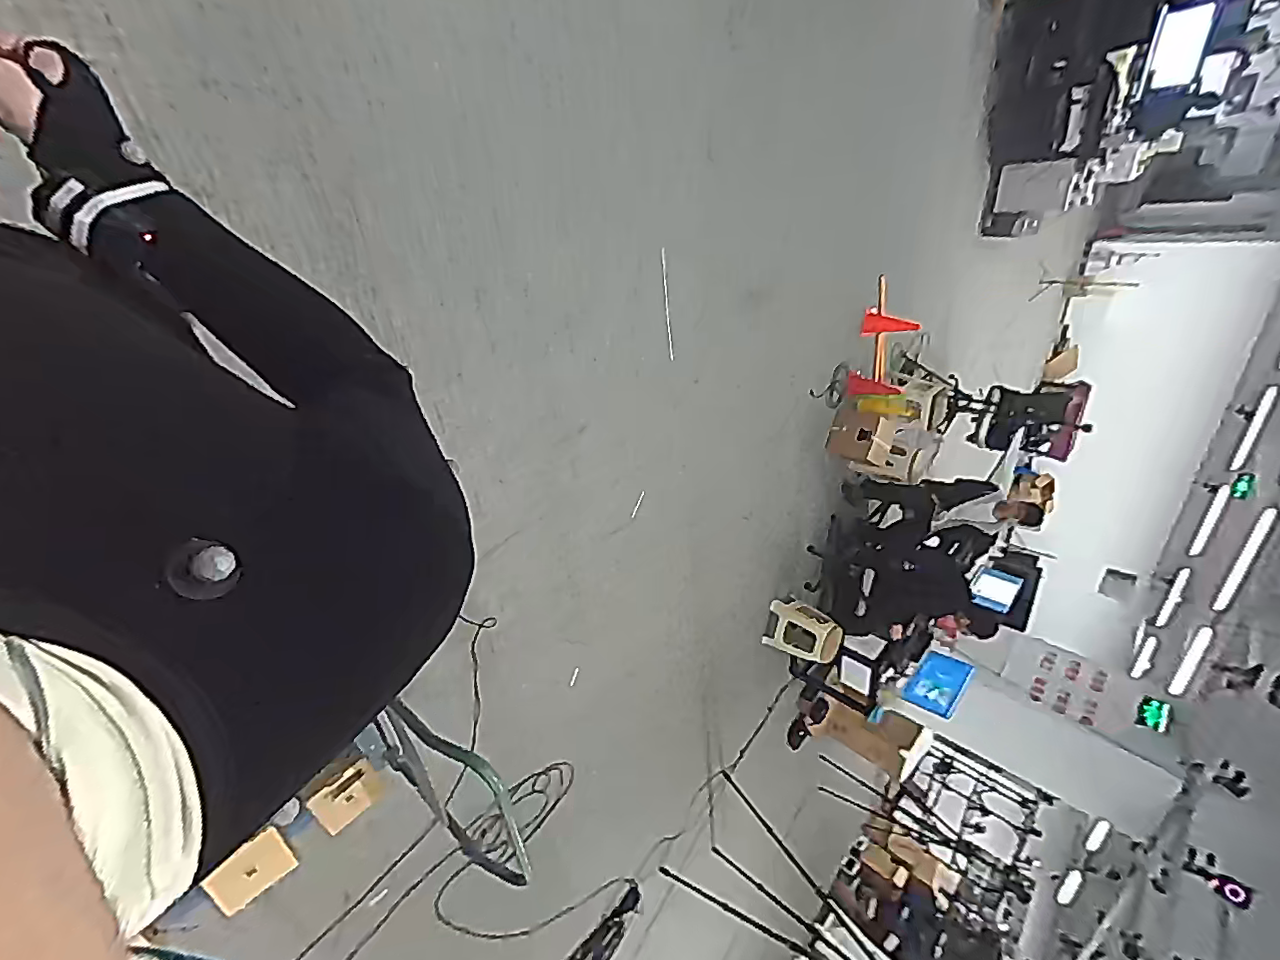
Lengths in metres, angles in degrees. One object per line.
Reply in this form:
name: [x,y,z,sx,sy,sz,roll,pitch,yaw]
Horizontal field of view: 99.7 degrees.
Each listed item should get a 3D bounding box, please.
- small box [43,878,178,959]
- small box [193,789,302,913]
small box: [-1.215,1.078,1.245,0.168,0.176,0.179,-32,127,-38]
small box: [-1.026,0.960,1.415,0.168,0.176,0.179,-30,125,-37]
